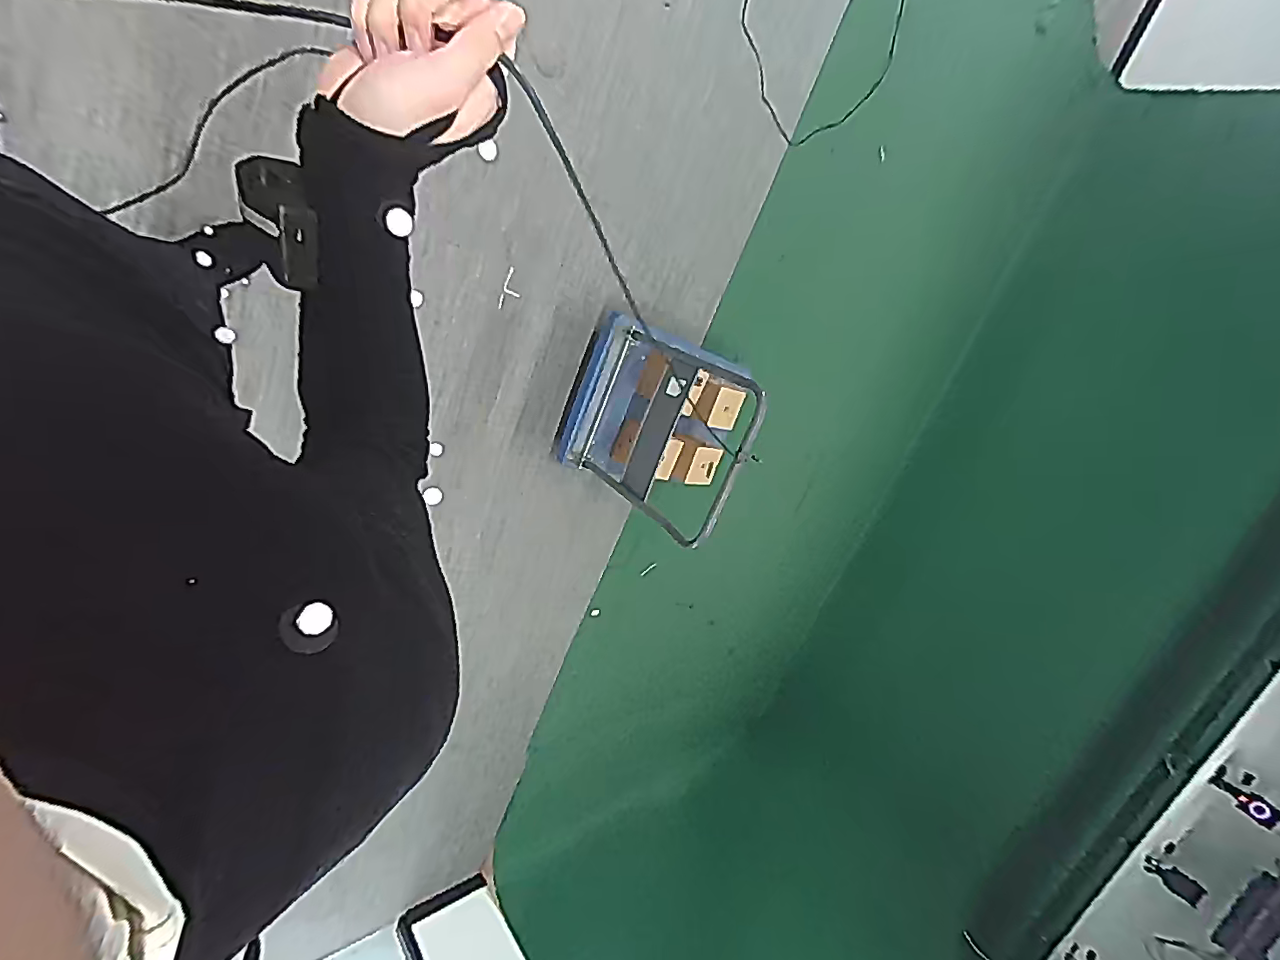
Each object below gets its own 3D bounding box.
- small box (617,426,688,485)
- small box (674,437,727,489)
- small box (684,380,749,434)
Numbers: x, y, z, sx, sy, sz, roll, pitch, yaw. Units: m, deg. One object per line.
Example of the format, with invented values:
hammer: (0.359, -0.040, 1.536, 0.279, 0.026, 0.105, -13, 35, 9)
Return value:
small box: (0.045, -0.095, 2.076, 0.179, 0.176, 0.168, 9, 108, -46)
small box: (0.229, -0.071, 2.272, 0.179, 0.176, 0.168, 3, 112, -45)
small box: (0.307, -0.300, 2.202, 0.179, 0.176, 0.168, 2, 114, -46)
